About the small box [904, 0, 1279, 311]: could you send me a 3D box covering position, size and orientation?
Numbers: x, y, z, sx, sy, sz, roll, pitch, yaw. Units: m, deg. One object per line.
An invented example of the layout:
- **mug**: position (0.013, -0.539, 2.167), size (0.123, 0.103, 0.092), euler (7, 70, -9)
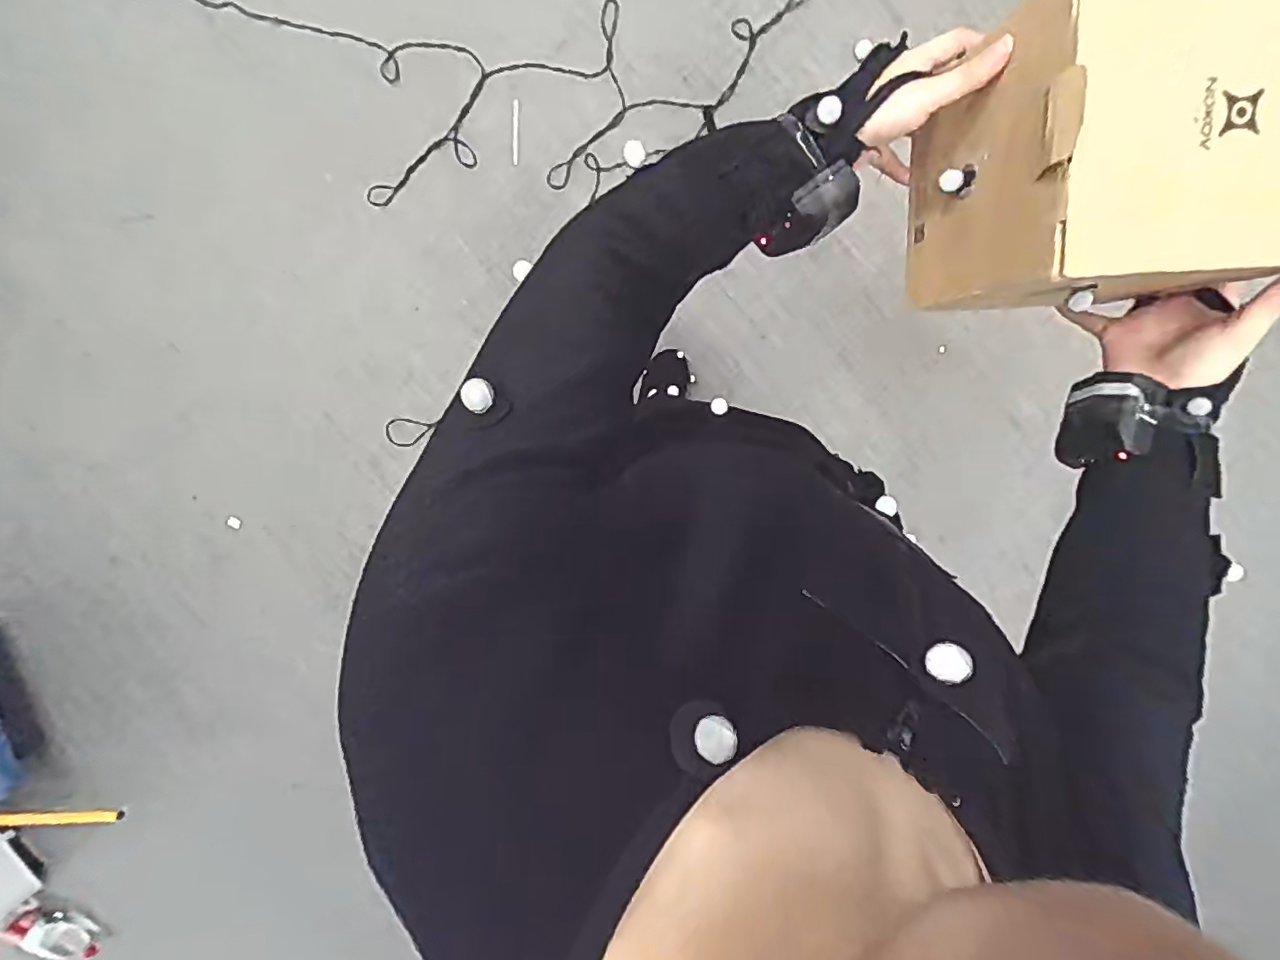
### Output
- **small box**: position (0.309, -0.218, 0.383), size (0.179, 0.176, 0.168), euler (-4, 100, 0)
